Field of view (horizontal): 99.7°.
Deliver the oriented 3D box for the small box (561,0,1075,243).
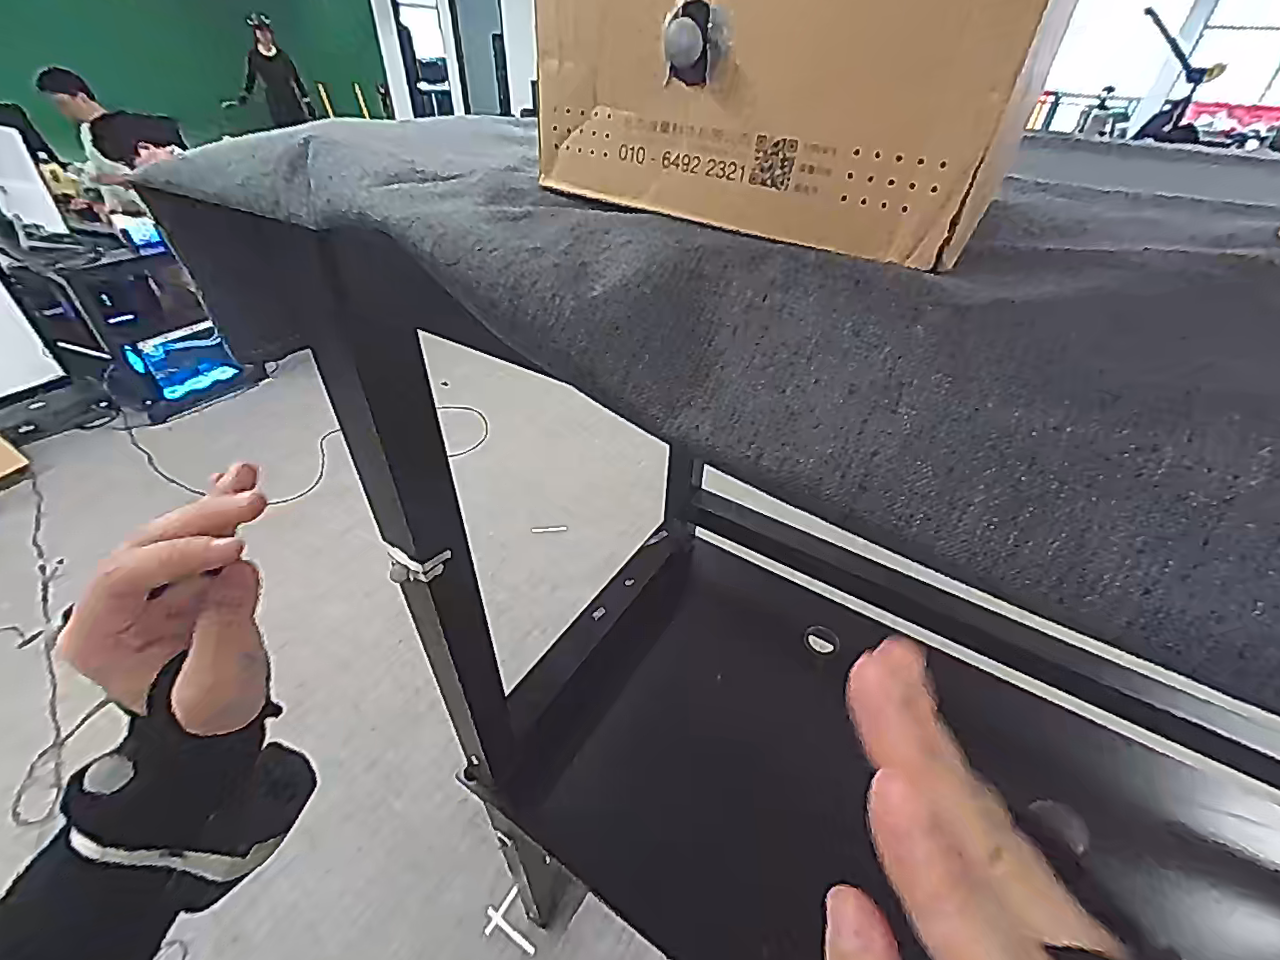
[{"bbox_3d":[0.080,-0.208,0.208,0.168,0.176,0.179,24,42,23],"label":"small box"}]
